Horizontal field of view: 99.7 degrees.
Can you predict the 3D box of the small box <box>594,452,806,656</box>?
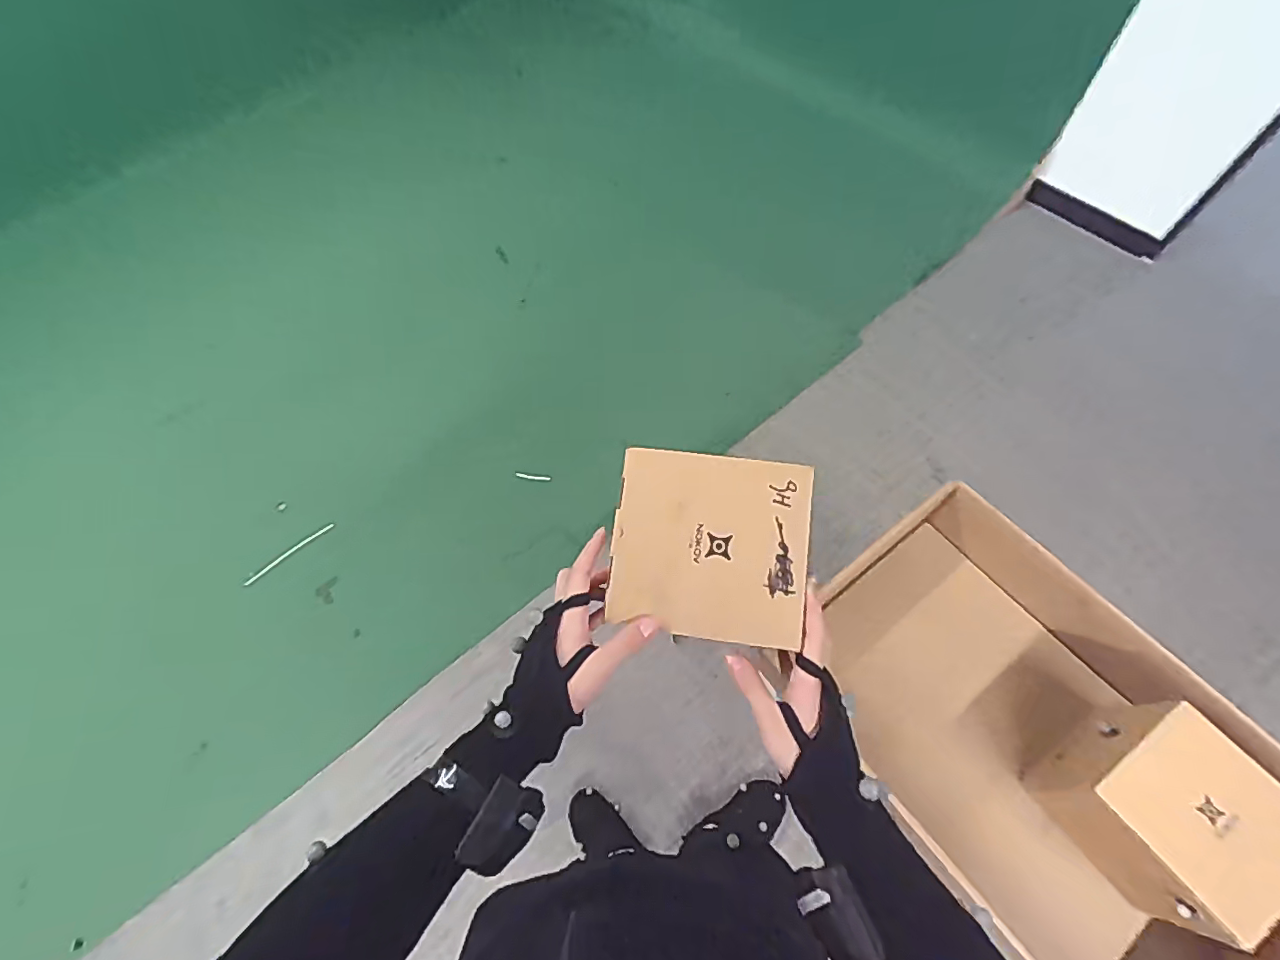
[{"bbox_3d":[0.062,0.079,0.560,0.179,0.176,0.168,6,78,6],"label":"small box"}]
